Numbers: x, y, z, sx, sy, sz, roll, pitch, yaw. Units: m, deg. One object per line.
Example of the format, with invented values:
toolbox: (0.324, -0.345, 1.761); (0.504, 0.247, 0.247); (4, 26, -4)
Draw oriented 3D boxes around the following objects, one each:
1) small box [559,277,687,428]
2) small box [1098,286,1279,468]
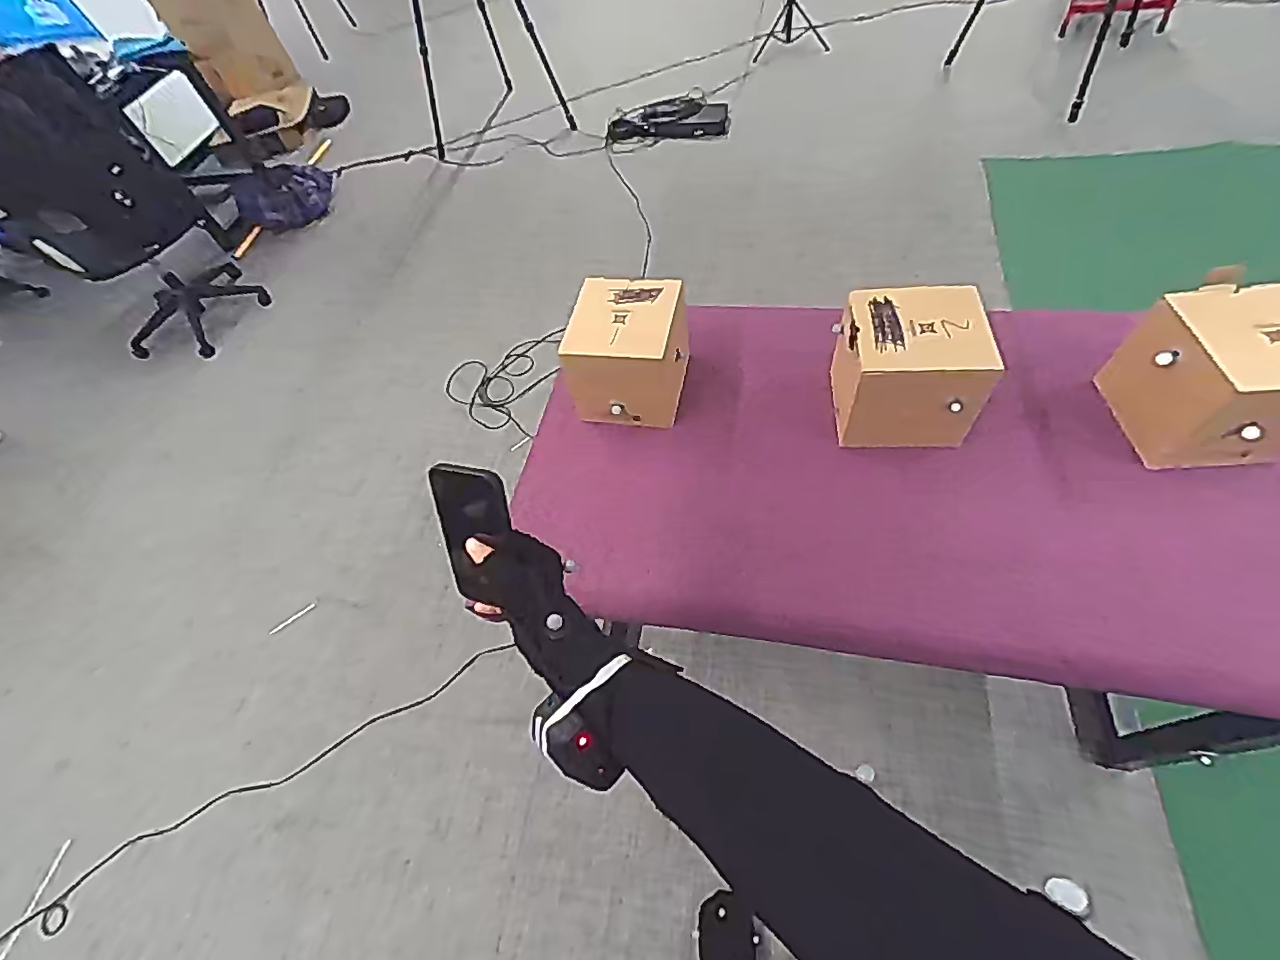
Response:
small box: (-0.016, -0.211, 0.901); (0.168, 0.176, 0.179); (6, 60, 13)
small box: (0.773, -0.128, 0.718); (0.168, 0.176, 0.179); (-4, 56, 8)
